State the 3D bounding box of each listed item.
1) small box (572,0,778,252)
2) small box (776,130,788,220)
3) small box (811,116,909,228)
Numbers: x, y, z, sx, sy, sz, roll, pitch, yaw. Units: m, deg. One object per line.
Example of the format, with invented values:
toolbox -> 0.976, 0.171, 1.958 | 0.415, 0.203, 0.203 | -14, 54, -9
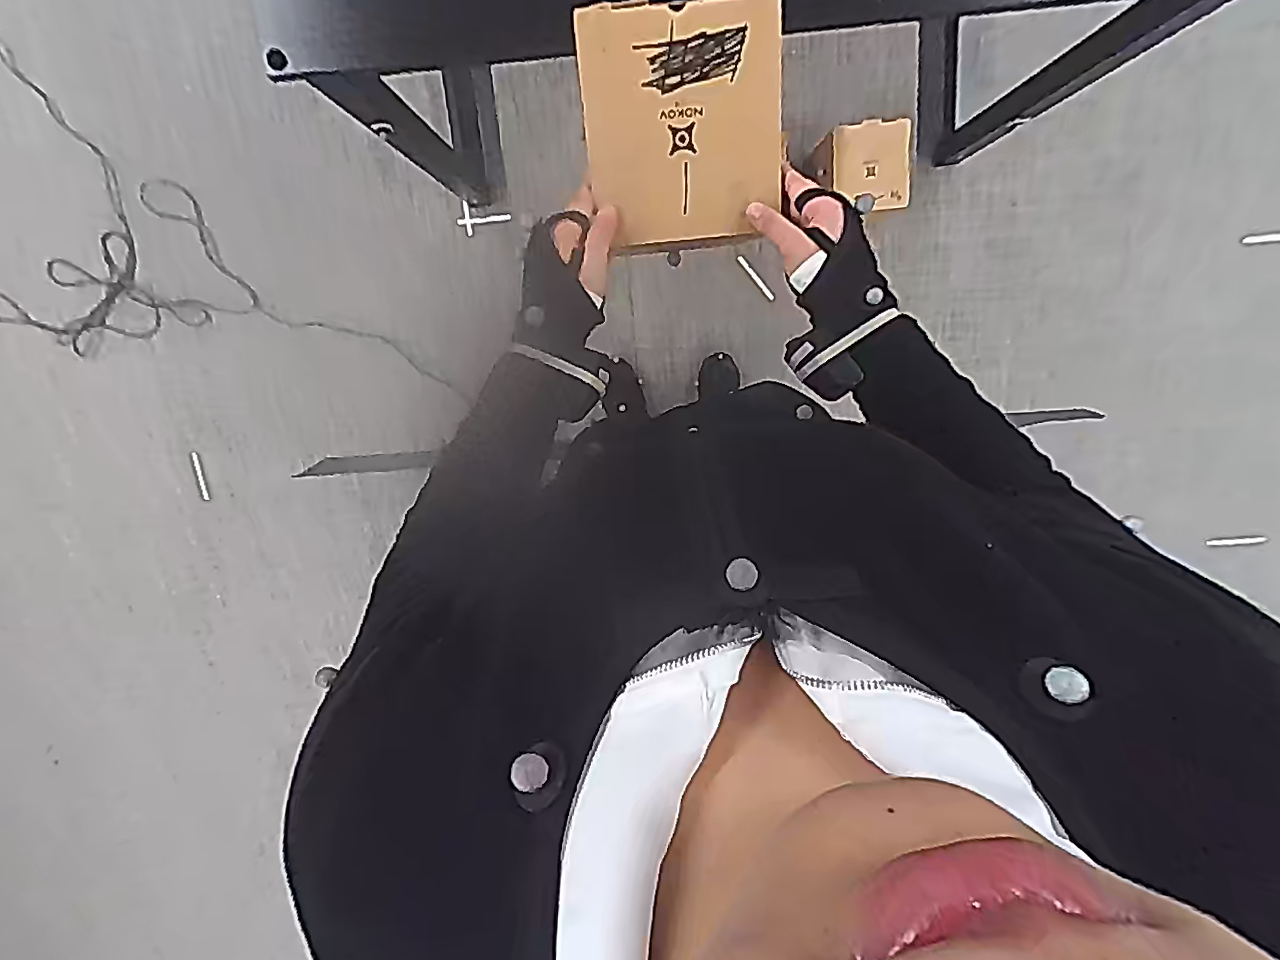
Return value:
small box -> 0.031, -0.325, 0.523 | 0.168, 0.176, 0.179 | -5, 110, 2
small box -> 0.235, -0.683, 1.254 | 0.179, 0.176, 0.168 | -4, 103, 3
small box -> 0.497, -0.698, 1.242 | 0.168, 0.176, 0.179 | -5, 103, 3
